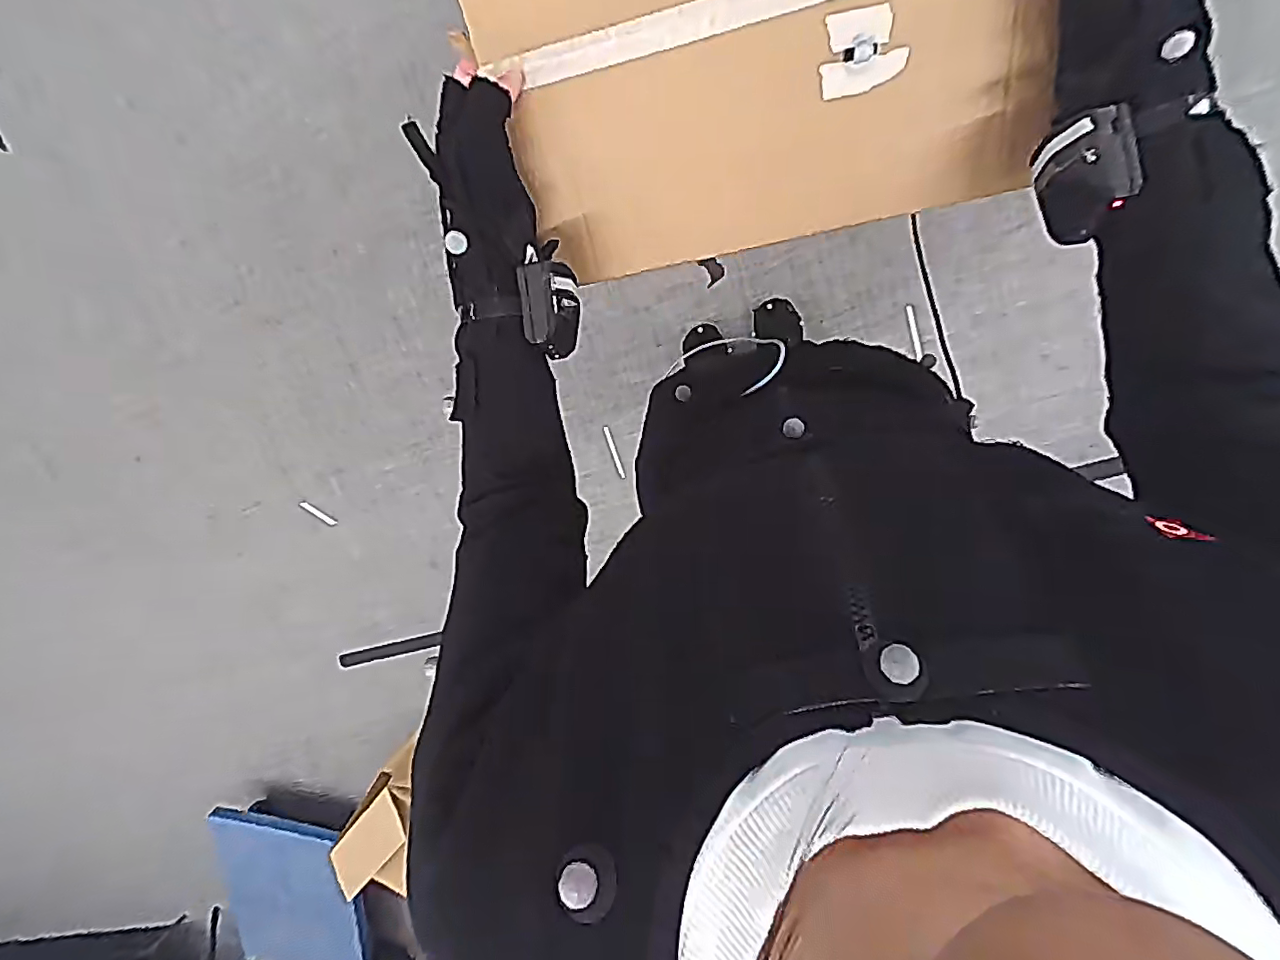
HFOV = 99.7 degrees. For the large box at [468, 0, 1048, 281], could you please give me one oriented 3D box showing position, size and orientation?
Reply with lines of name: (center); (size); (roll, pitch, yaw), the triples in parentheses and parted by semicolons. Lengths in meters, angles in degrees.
large box: (0.086, -0.415, 0.511); (0.408, 0.320, 0.320); (-10, 120, 10)
